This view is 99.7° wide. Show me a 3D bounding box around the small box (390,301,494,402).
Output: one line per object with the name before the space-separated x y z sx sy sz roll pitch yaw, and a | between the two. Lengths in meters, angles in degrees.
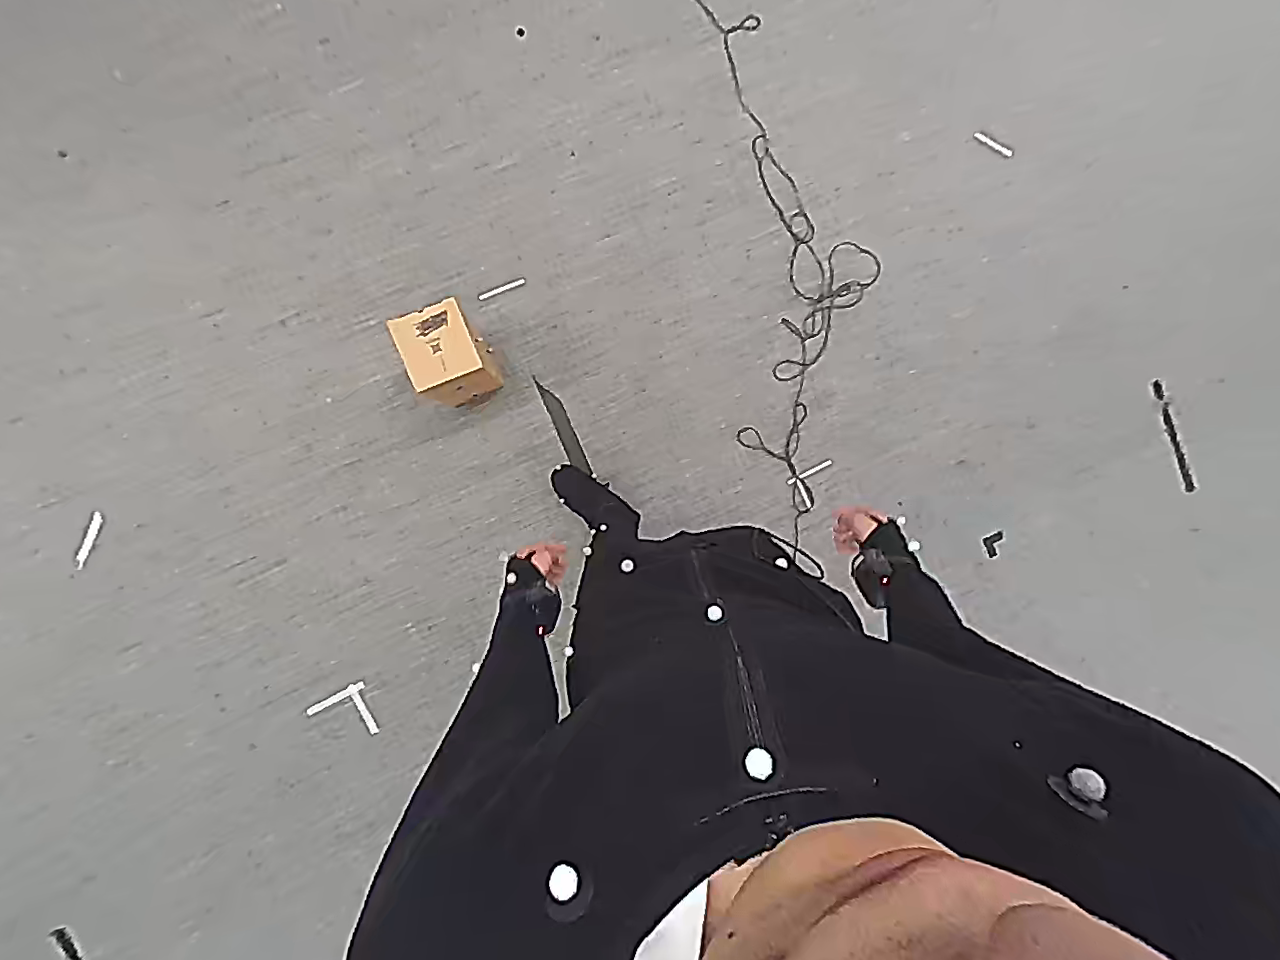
small box | -0.475 -0.306 1.323 0.168 0.176 0.179 -23 94 -5
